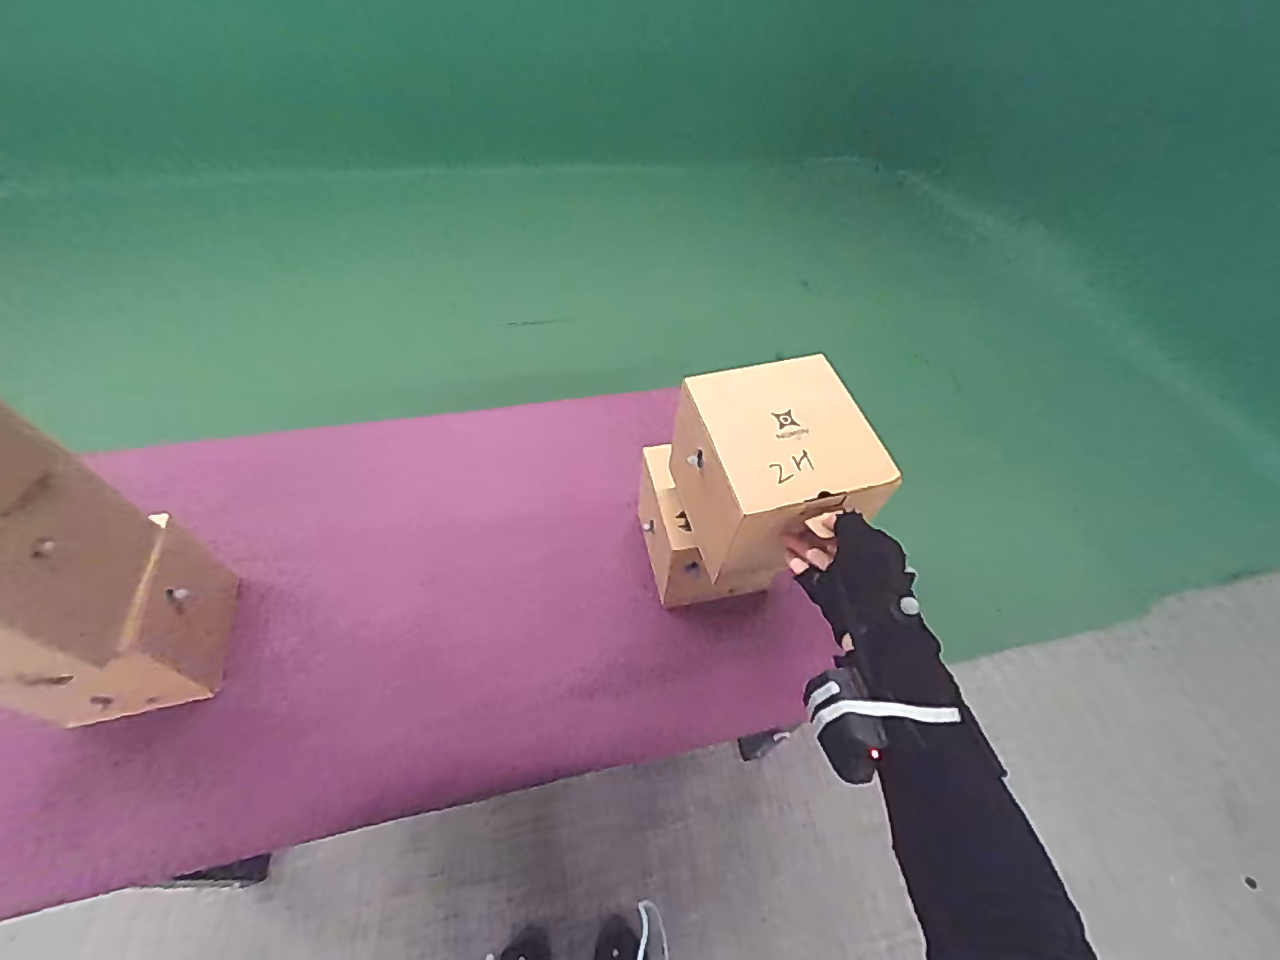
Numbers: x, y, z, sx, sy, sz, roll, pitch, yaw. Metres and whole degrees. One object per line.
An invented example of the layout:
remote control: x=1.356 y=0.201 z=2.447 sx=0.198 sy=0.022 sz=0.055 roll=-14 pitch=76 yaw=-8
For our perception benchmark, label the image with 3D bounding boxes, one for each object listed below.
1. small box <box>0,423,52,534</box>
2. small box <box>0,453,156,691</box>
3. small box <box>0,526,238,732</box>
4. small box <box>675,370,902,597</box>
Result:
small box: x=-0.618 y=-0.002 z=0.391 sx=0.168 sy=0.176 sz=0.179 roll=8 pitch=55 yaw=1
small box: x=-0.628 y=0.099 z=0.521 sx=0.168 sy=0.176 sz=0.179 roll=-6 pitch=54 yaw=-9
small box: x=-0.633 y=0.183 z=0.663 sx=0.168 sy=0.176 sz=0.179 roll=-10 pitch=55 yaw=-12
small box: x=0.144 y=0.007 z=0.605 sx=0.168 sy=0.176 sz=0.179 roll=-12 pitch=59 yaw=-10
